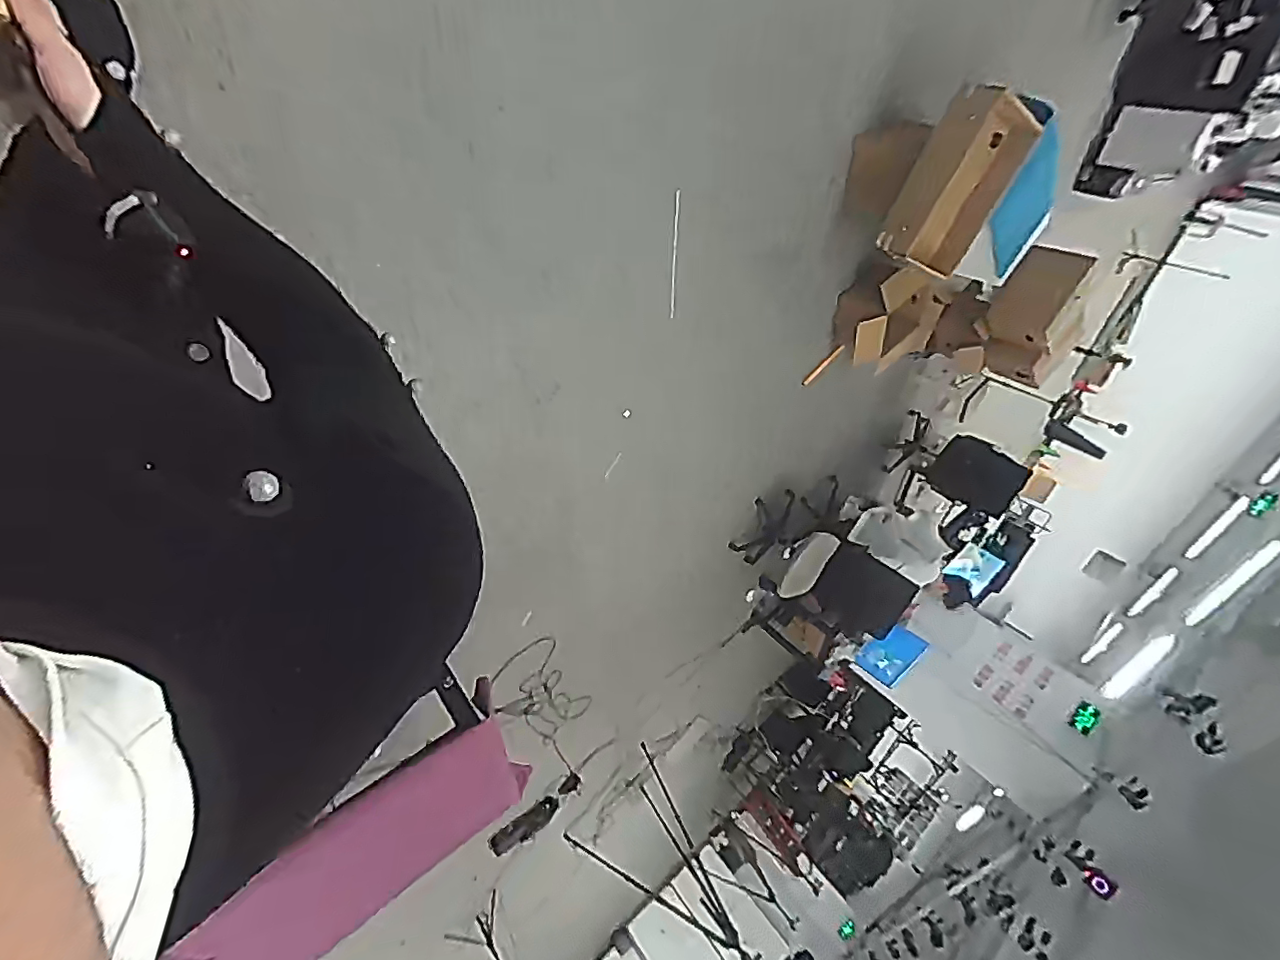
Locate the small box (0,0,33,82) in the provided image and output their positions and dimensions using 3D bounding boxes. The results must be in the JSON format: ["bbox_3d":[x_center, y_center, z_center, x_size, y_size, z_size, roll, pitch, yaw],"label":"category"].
[{"bbox_3d":[-0.573,-0.426,0.375,0.168,0.176,0.179,-18,109,-41],"label":"small box"}]
